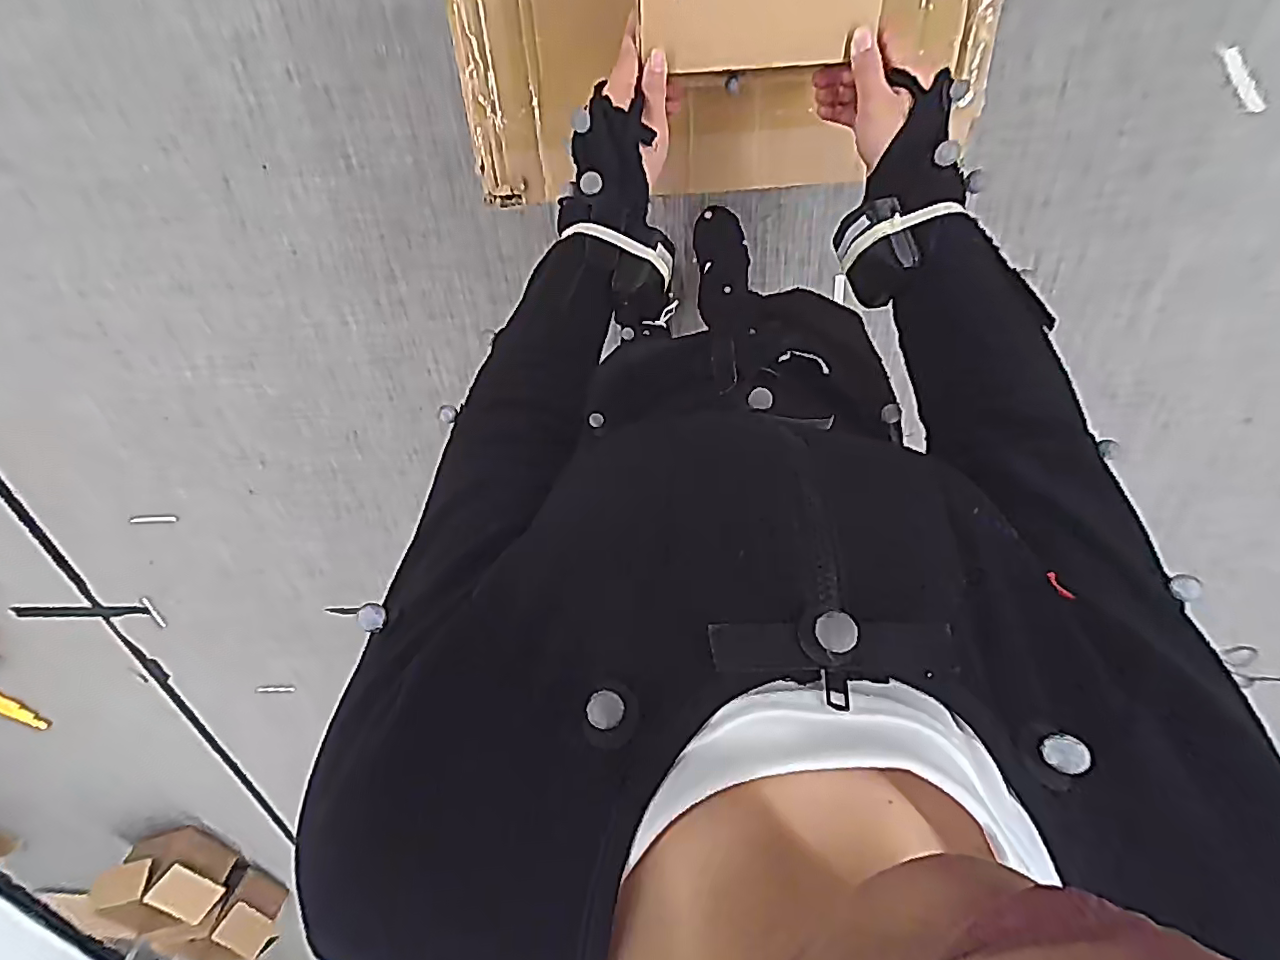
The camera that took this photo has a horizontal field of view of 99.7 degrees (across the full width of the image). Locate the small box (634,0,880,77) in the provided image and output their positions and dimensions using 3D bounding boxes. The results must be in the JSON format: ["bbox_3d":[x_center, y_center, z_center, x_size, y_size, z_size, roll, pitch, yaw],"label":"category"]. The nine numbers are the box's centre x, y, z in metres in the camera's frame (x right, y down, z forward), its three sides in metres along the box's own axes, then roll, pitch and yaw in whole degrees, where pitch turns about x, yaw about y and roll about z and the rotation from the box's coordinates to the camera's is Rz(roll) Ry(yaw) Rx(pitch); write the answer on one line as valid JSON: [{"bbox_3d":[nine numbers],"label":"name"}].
[{"bbox_3d":[0.084,-0.428,0.424,0.179,0.176,0.168,-1,124,3],"label":"small box"}]
